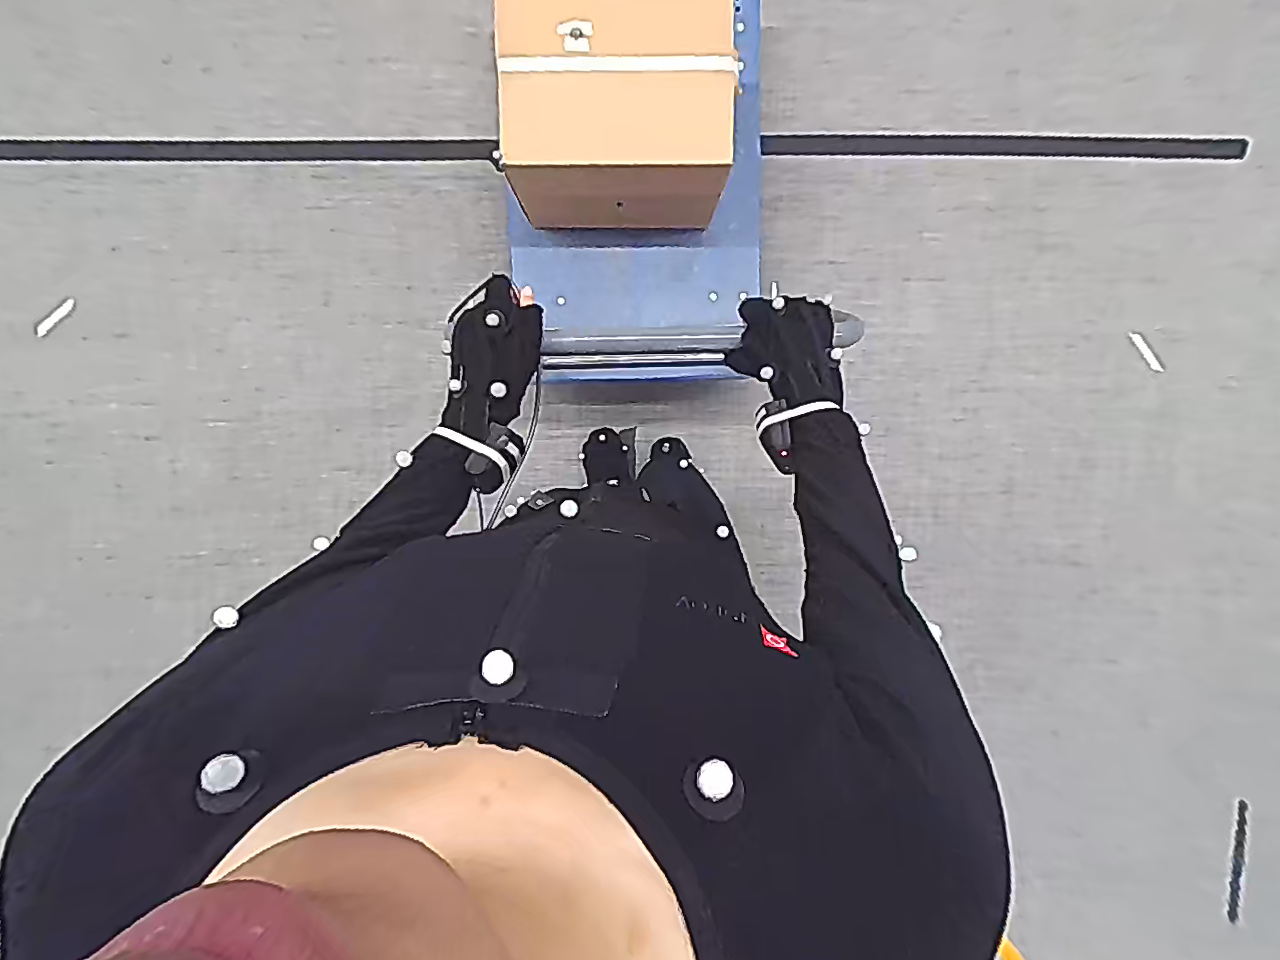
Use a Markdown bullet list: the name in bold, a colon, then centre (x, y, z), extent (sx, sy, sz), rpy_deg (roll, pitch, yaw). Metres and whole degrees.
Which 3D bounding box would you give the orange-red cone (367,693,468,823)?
- **orange-red cone**: centre (-0.588, 0.719, 1.360), extent (0.198, 0.360, 0.199), rpy_deg (8, 95, -3)

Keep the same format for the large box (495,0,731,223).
- **large box**: centre (-0.043, -0.720, 1.067), extent (0.408, 0.320, 0.320), rpy_deg (-1, 96, 0)
